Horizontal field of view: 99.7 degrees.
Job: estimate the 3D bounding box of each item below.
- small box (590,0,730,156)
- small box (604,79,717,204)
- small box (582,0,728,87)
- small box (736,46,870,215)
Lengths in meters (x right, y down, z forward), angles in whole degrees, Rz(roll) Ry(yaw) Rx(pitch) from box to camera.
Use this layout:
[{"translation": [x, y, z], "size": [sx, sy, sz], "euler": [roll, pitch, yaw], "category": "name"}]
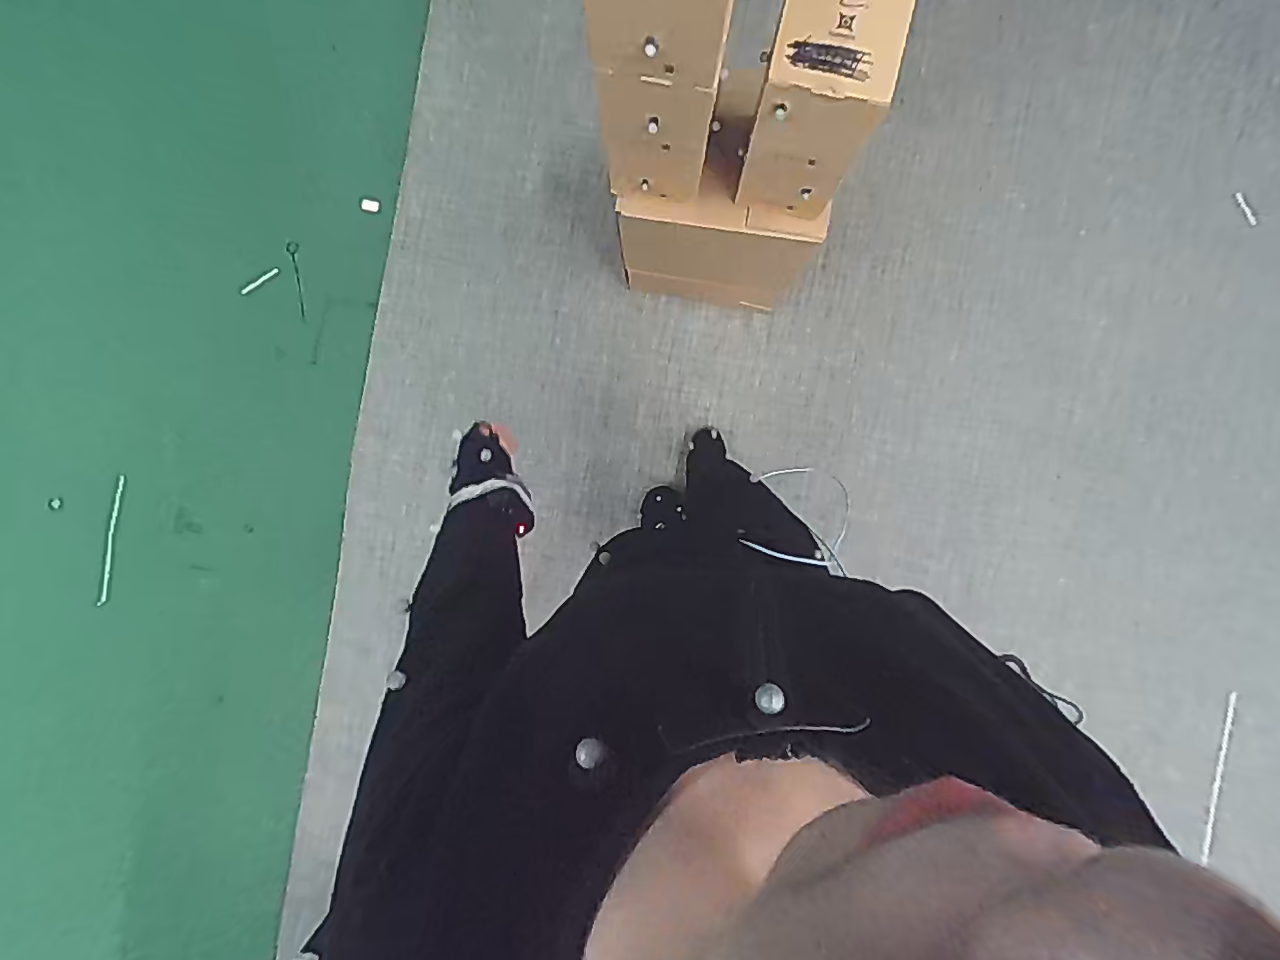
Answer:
[{"translation": [0.031, -0.608, 0.783], "size": [0.168, 0.176, 0.179], "euler": [11, 93, 0], "category": "small box"}, {"translation": [0.034, -0.620, 0.946], "size": [0.168, 0.176, 0.179], "euler": [10, 93, 0], "category": "small box"}, {"translation": [0.026, -0.605, 0.617], "size": [0.168, 0.176, 0.179], "euler": [11, 93, 0], "category": "small box"}, {"translation": [0.270, -0.593, 0.940], "size": [0.168, 0.176, 0.179], "euler": [12, 91, 2], "category": "small box"}]
